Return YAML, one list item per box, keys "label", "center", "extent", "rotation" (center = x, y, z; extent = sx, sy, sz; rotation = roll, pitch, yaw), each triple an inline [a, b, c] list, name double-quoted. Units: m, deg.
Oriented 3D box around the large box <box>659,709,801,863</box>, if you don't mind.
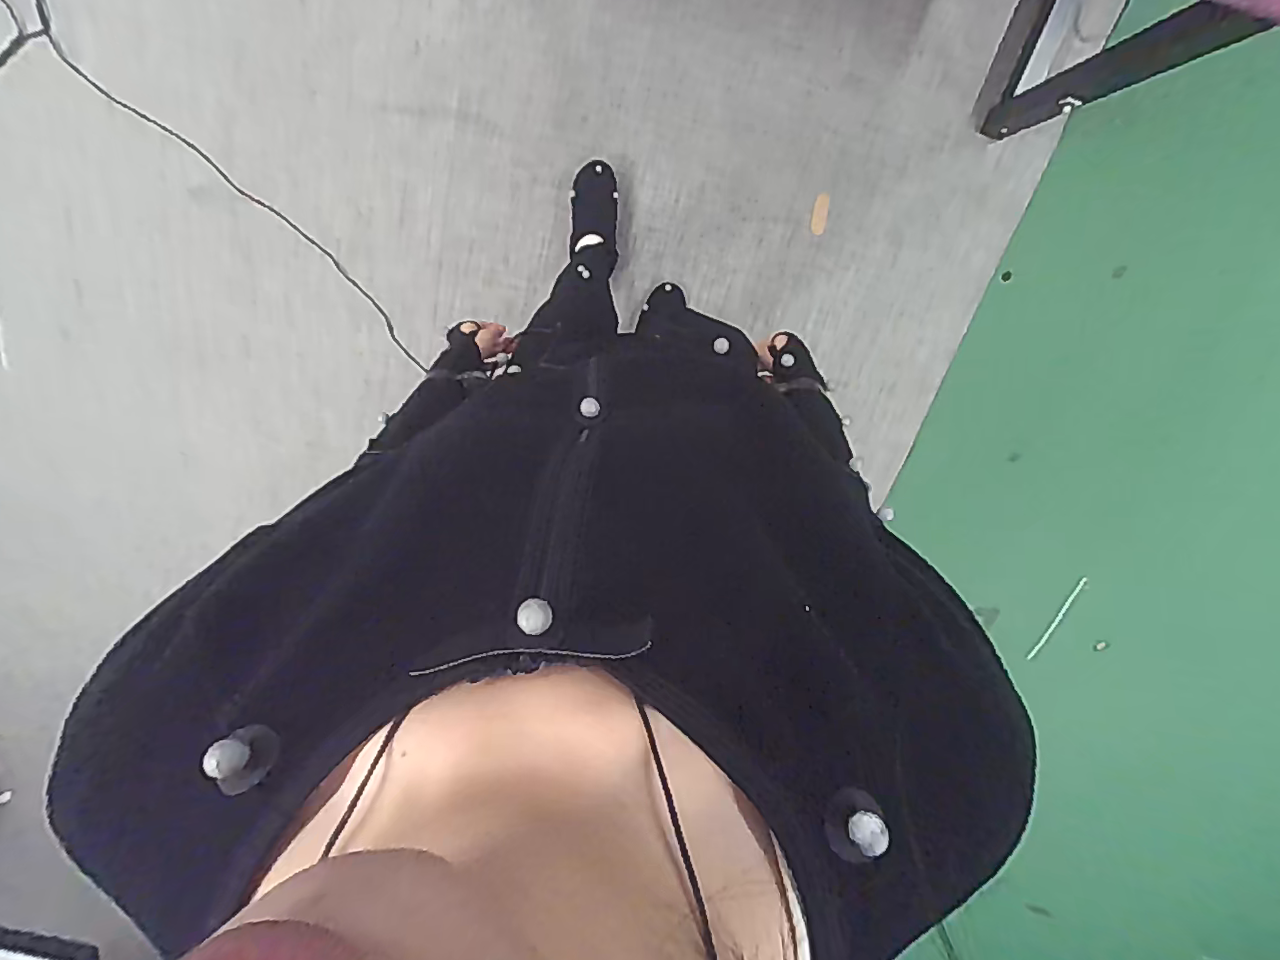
- label: "large box"
  center: [0.265, 0.974, 1.741]
  extent: [0.408, 0.320, 0.320]
  rotation: [2, 111, 1]
